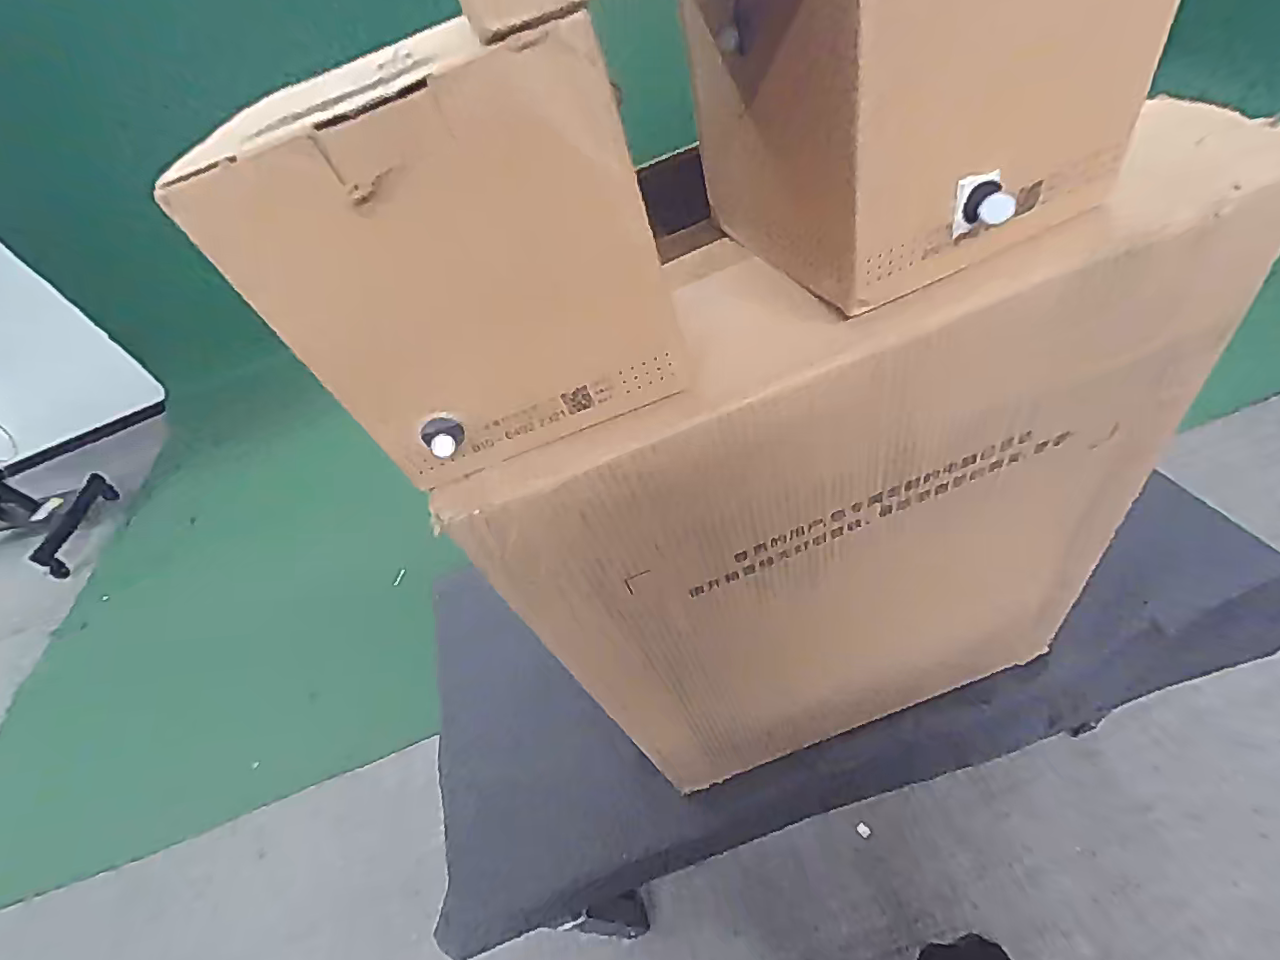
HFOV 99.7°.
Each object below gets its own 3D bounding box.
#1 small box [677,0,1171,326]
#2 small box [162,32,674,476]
[{"bbox_3d":[0.136,-0.216,0.302,0.168,0.176,0.179,-27,46,-3],"label":"small box"},{"bbox_3d":[-0.092,-0.123,0.305,0.168,0.176,0.179,-21,44,3],"label":"small box"}]
